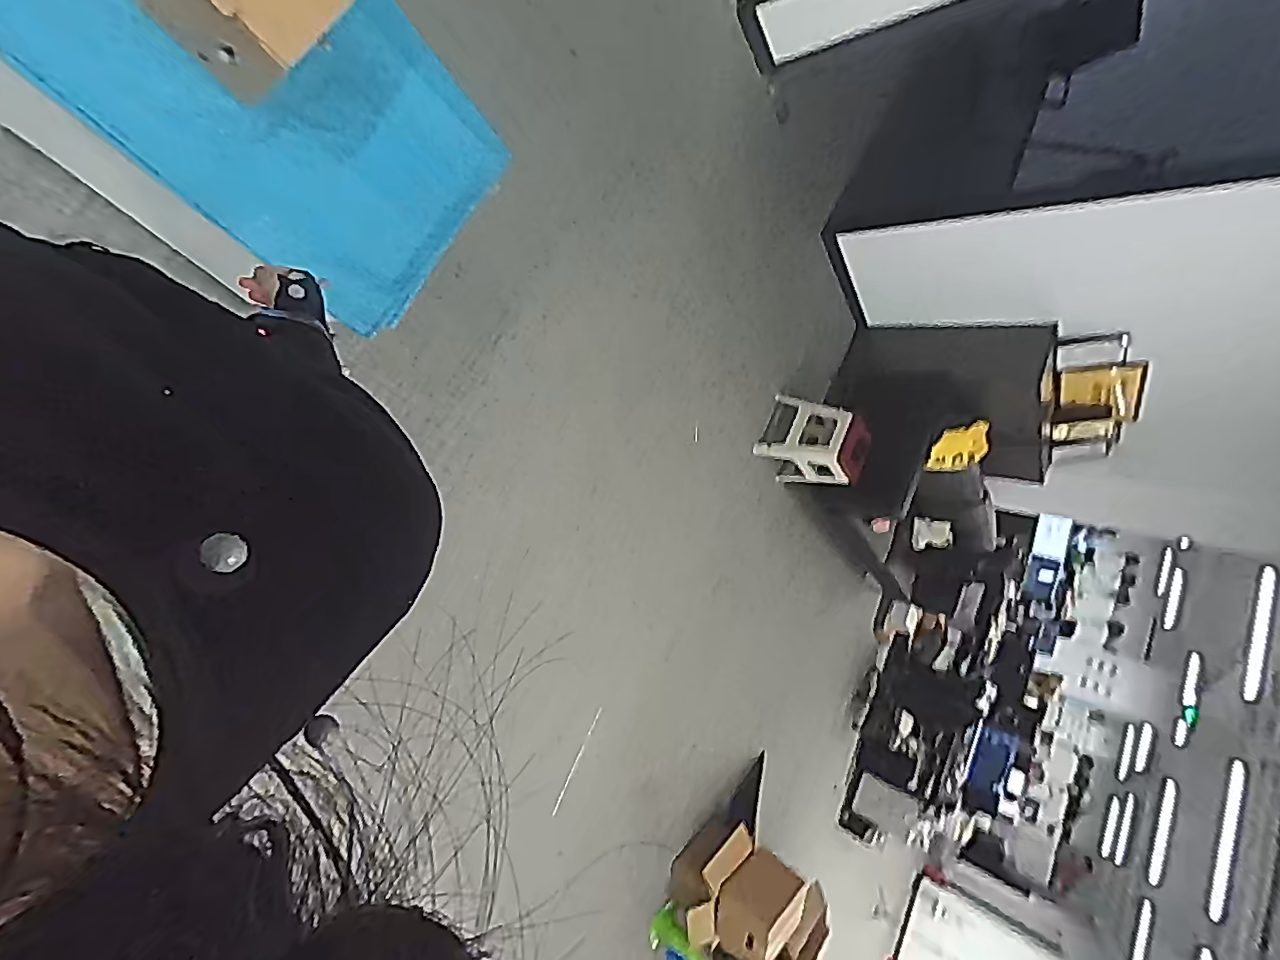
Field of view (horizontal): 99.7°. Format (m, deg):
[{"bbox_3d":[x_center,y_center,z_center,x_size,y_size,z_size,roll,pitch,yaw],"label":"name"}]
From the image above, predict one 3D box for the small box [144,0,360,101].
[{"bbox_3d":[-0.456,-0.583,0.622,0.168,0.176,0.179,46,65,-46],"label":"small box"}]
